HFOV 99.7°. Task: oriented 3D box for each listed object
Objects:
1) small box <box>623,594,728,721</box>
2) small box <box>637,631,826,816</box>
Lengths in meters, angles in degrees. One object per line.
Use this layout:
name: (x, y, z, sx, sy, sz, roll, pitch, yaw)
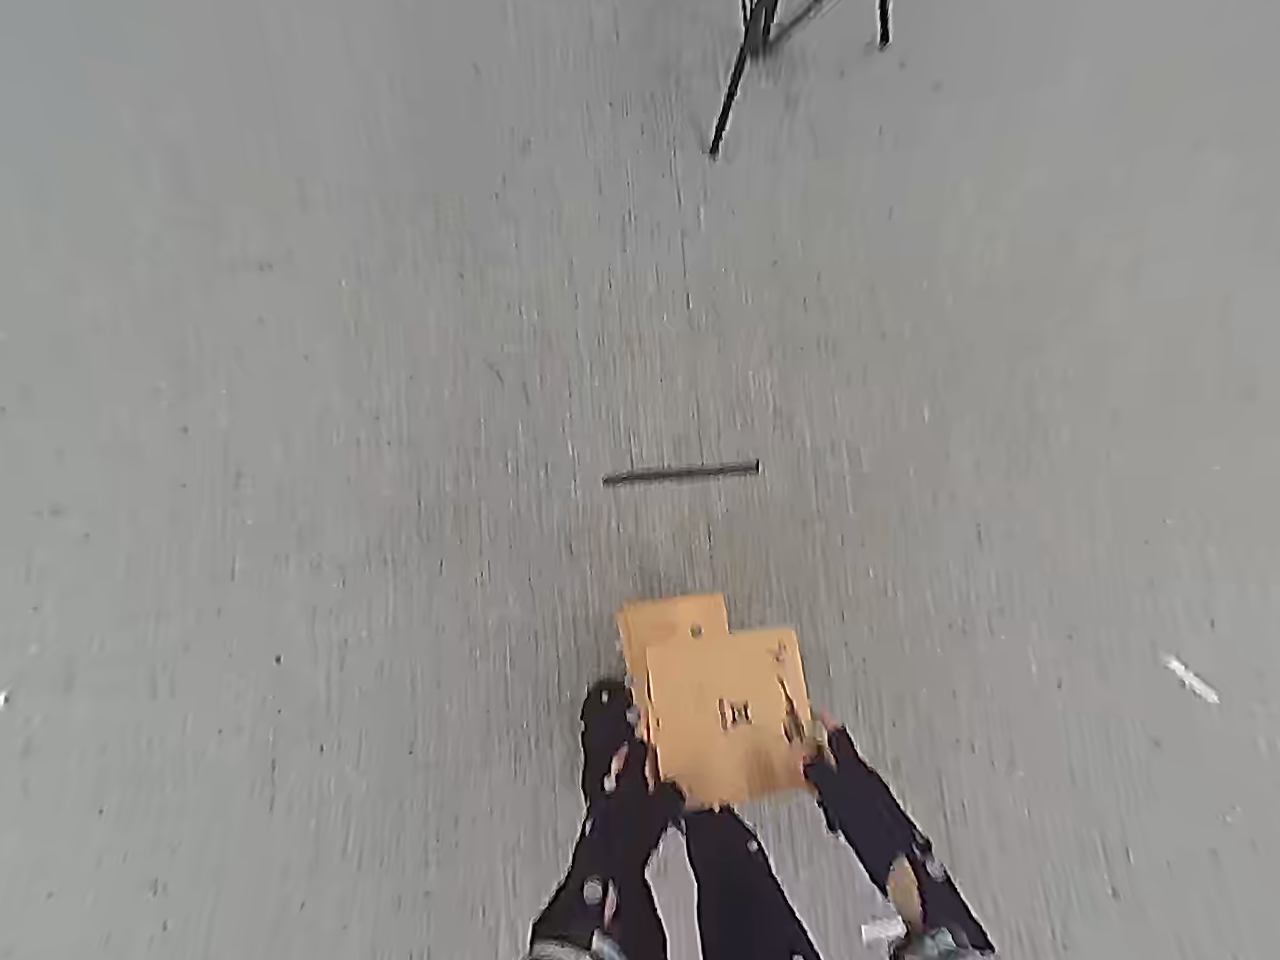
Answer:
small box: (0.062, 0.301, 0.948, 0.168, 0.176, 0.179, -8, 80, -5)
small box: (0.089, 0.275, 0.635, 0.179, 0.176, 0.168, -4, 71, -6)
